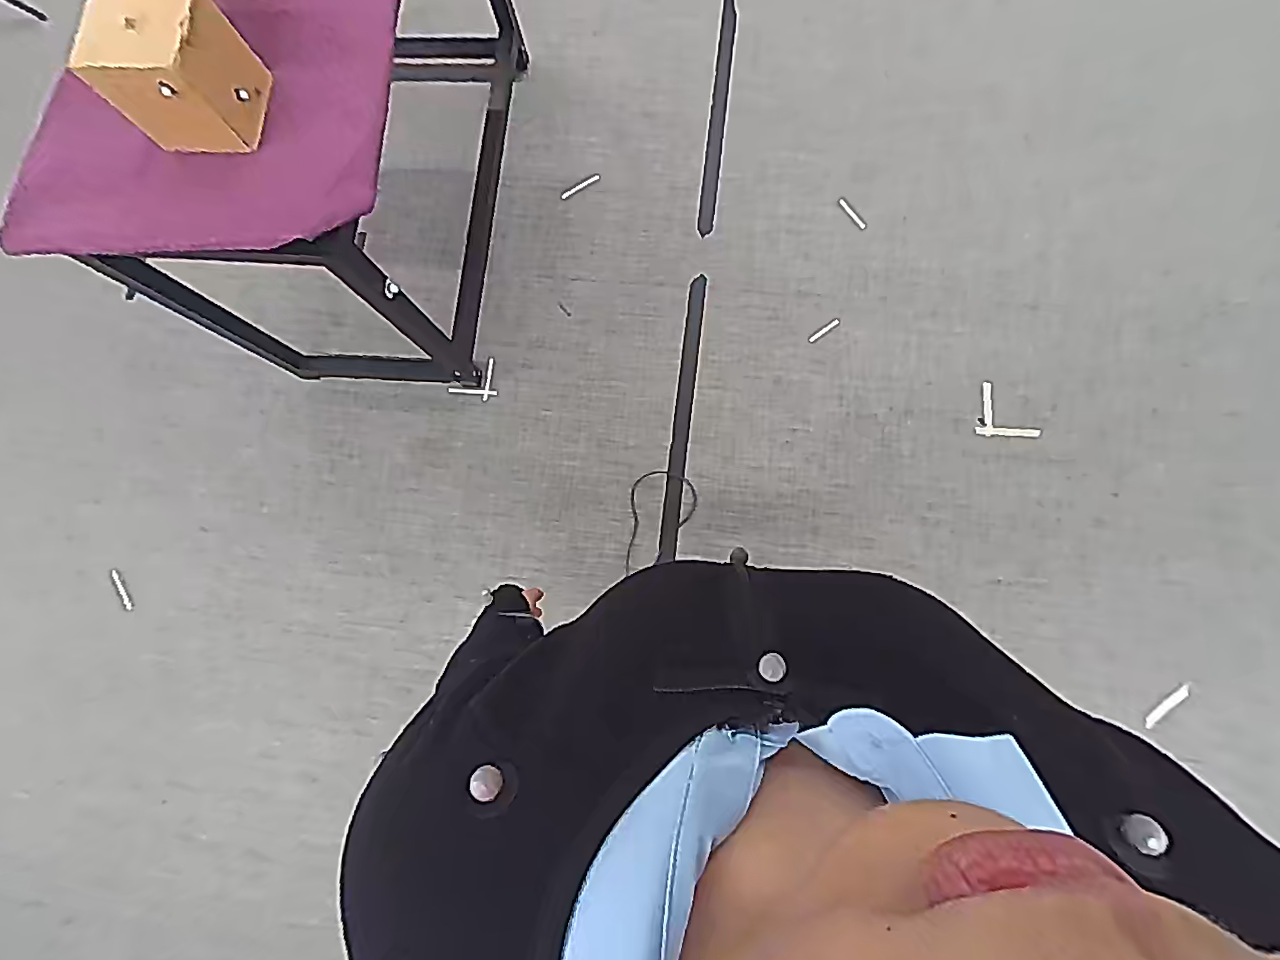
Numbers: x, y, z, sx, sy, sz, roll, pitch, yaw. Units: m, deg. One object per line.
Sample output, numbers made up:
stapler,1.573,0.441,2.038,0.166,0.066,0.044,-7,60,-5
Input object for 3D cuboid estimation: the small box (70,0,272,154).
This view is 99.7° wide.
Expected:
small box,-0.776,-0.684,0.914,0.179,0.176,0.168,3,79,3
